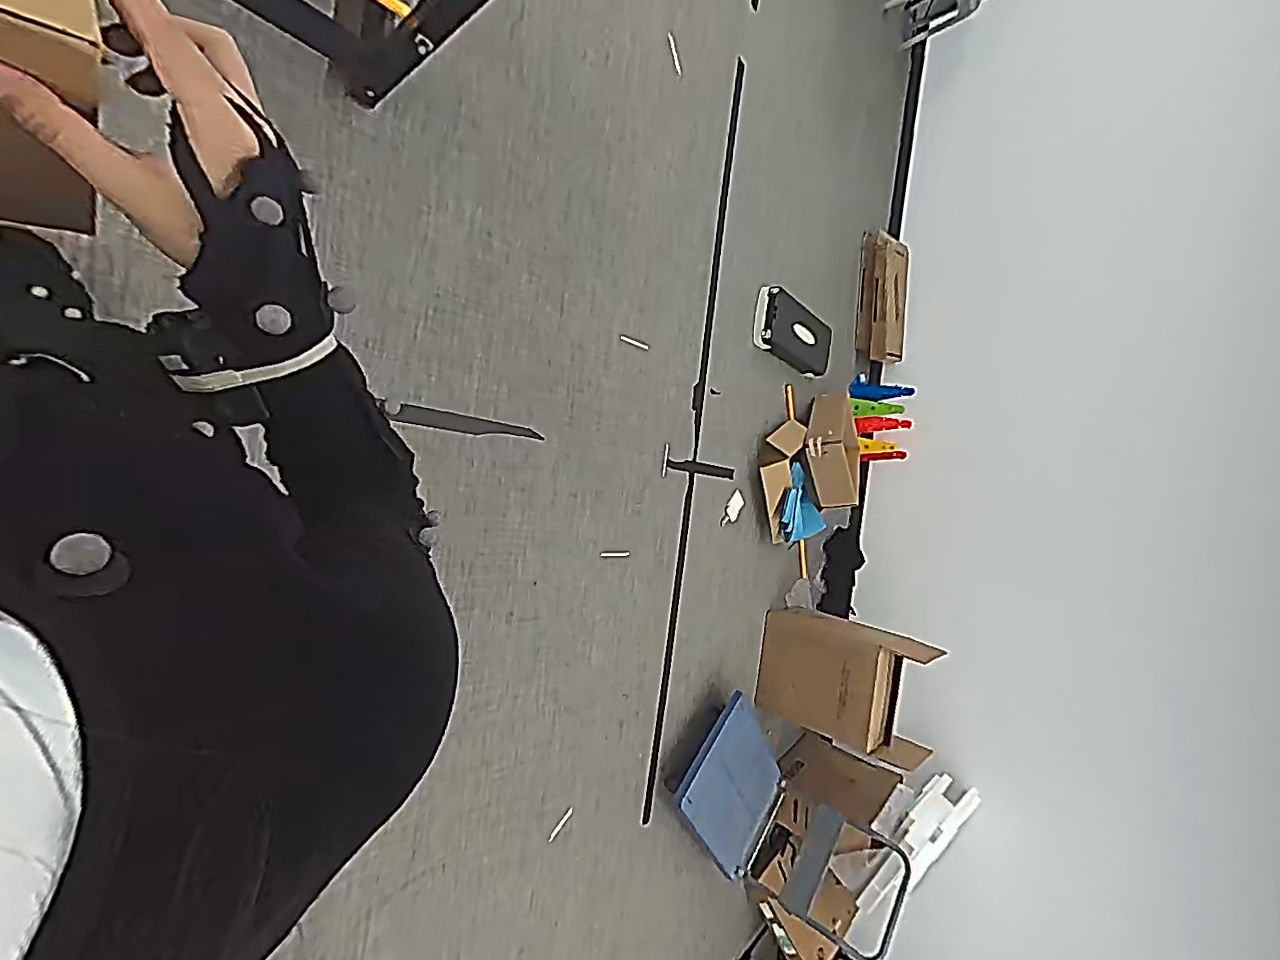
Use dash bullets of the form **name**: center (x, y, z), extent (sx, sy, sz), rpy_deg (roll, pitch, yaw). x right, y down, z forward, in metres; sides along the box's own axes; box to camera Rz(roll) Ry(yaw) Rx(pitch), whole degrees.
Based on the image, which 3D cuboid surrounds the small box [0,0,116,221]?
- **small box**: center (-0.331, -0.227, 0.206), extent (0.179, 0.176, 0.168), rpy_deg (-9, 90, -46)
